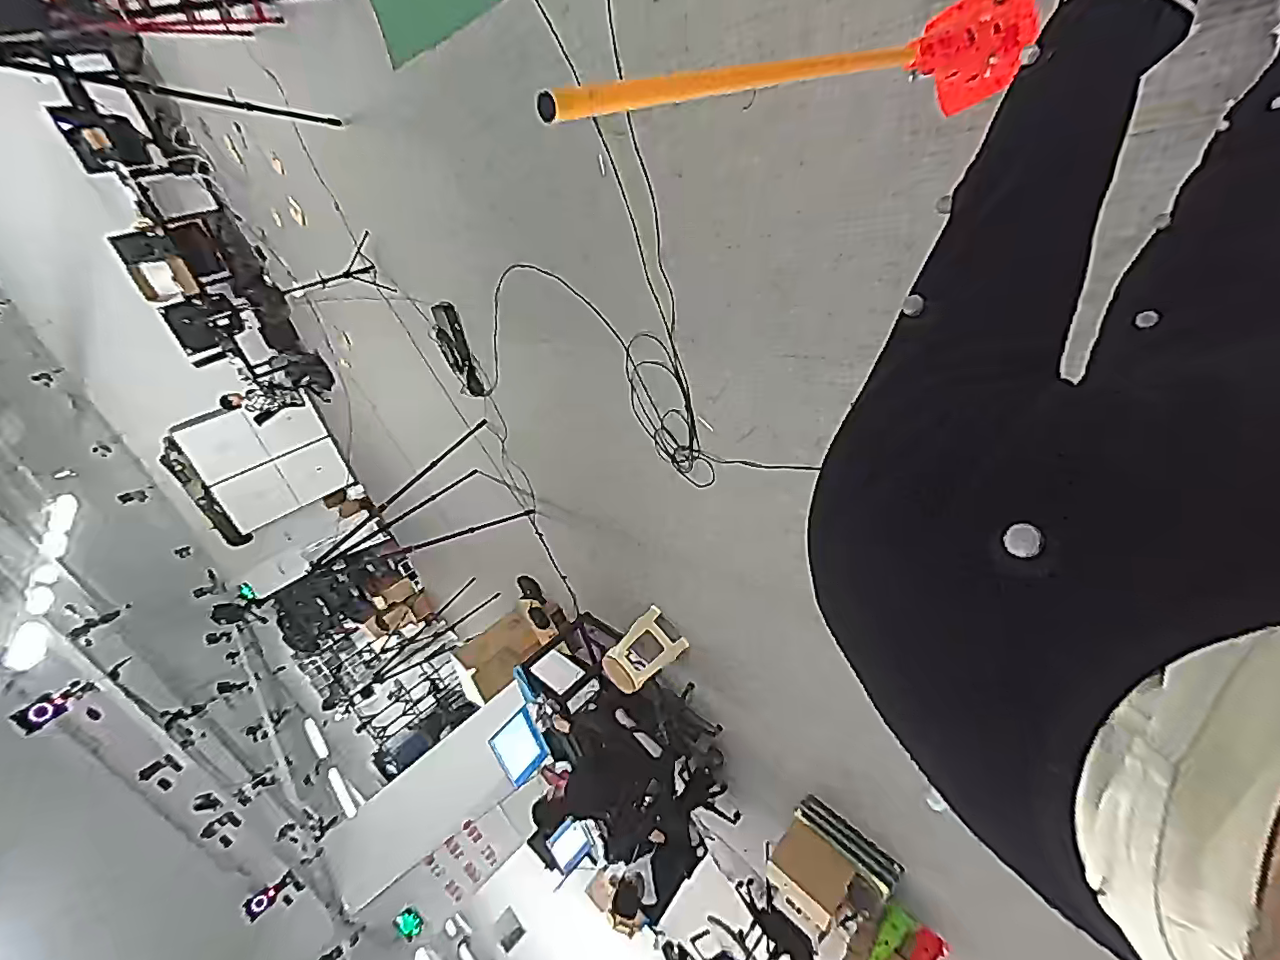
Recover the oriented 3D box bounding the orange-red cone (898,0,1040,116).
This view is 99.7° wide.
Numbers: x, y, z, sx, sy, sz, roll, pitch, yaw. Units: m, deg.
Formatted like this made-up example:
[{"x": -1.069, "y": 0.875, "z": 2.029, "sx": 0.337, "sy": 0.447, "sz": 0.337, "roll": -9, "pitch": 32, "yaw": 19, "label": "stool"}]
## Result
[{"x": 0.605, "y": -0.840, "z": 1.065, "sx": 0.199, "sy": 0.360, "sz": 0.198, "roll": 1, "pitch": 119, "yaw": 54, "label": "orange-red cone"}]
